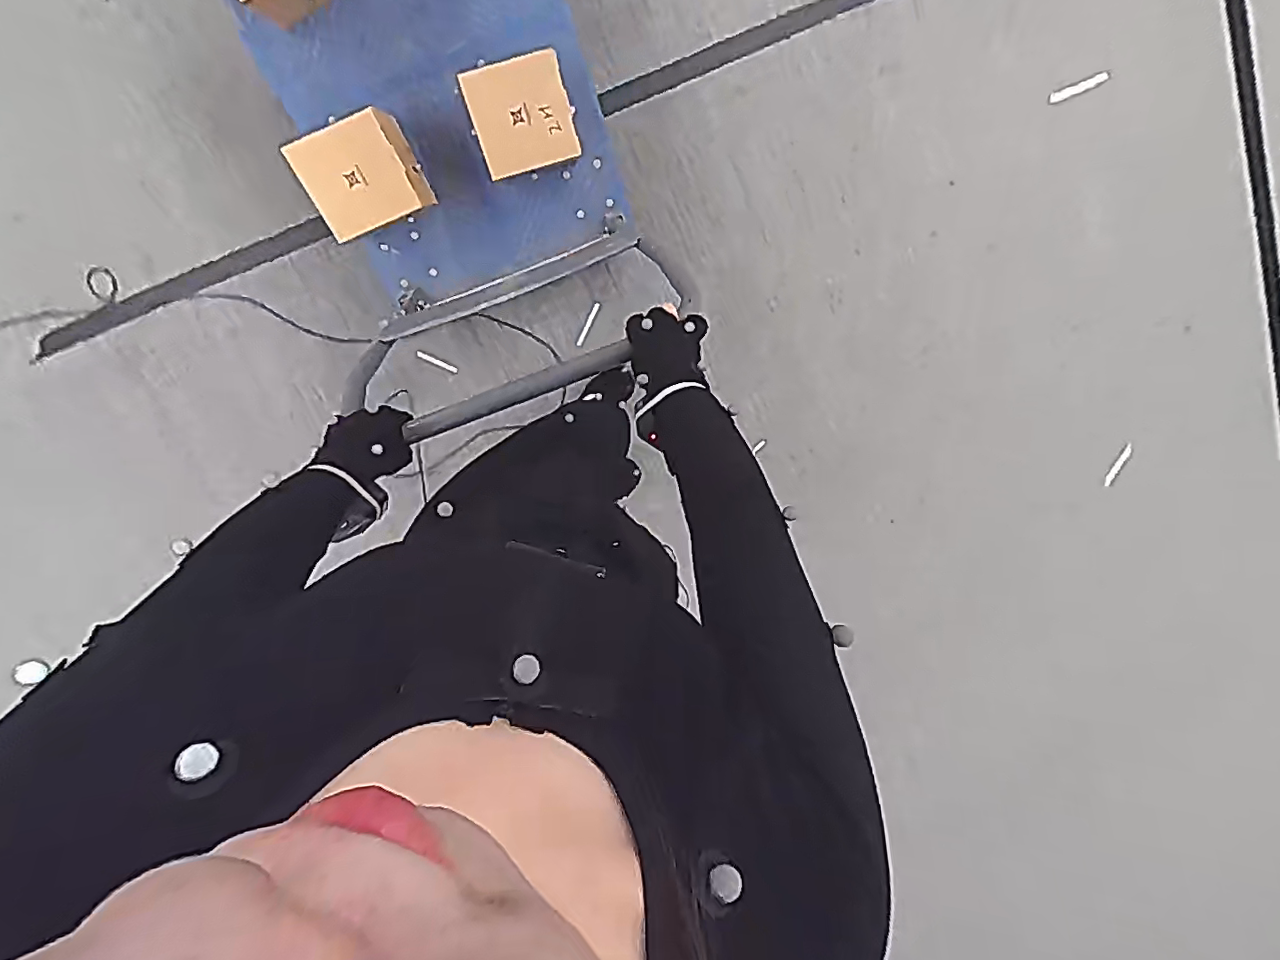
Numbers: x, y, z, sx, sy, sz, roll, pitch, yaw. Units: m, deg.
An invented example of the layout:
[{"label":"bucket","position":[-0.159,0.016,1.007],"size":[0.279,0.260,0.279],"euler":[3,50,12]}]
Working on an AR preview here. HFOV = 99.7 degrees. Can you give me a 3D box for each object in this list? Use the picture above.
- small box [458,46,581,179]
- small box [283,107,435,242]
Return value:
[{"label":"small box","position":[-0.219,-0.681,1.022],"size":[0.179,0.176,0.168],"euler":[-17,120,-1]},{"label":"small box","position":[-0.517,-0.570,1.026],"size":[0.179,0.176,0.168],"euler":[-24,119,1]}]
